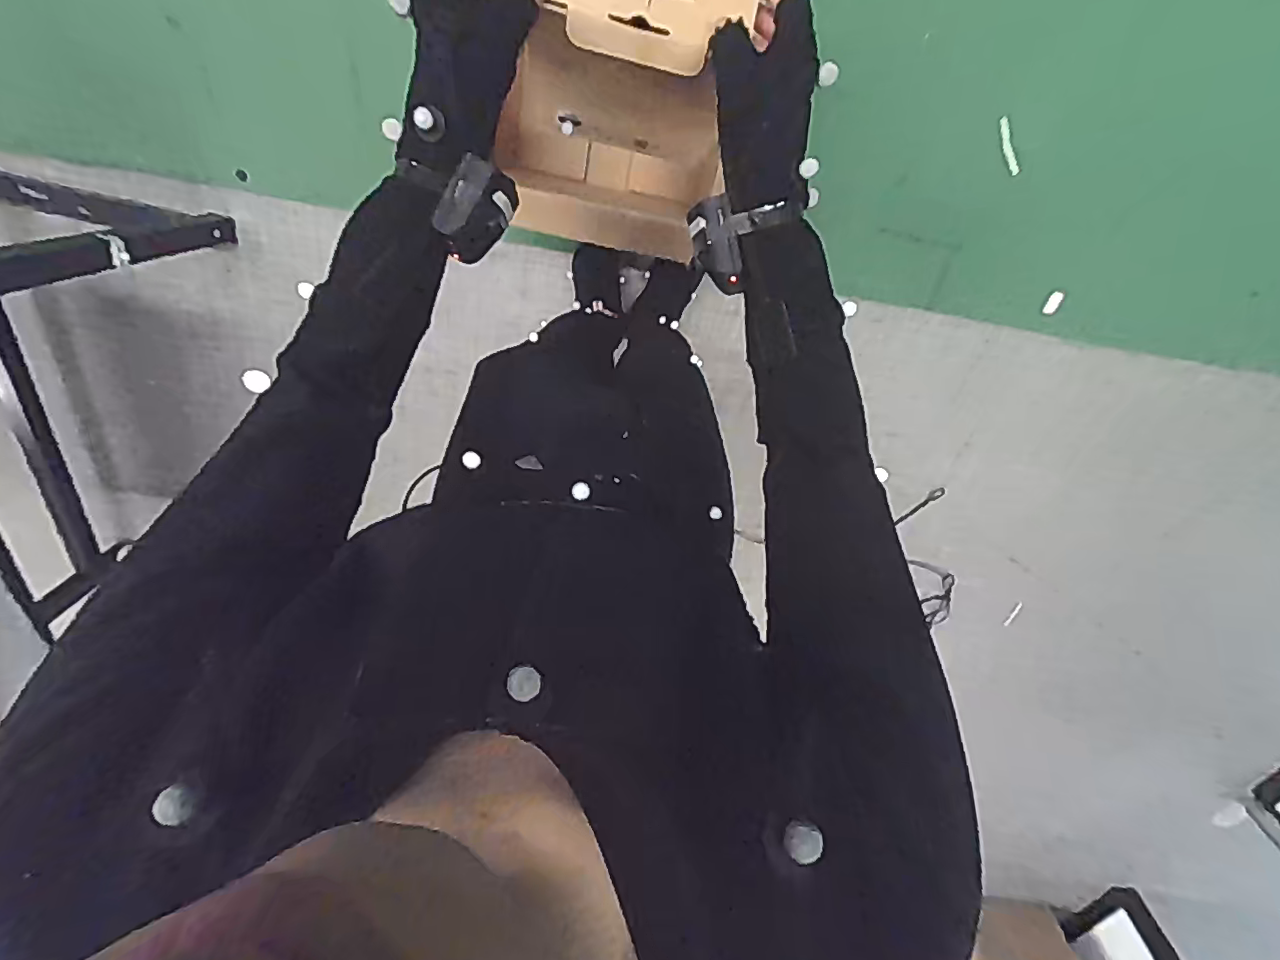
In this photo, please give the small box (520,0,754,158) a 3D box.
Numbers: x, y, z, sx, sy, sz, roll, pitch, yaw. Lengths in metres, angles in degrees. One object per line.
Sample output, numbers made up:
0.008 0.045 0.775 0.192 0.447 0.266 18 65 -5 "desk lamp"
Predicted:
0.001 -0.409 0.453 0.168 0.176 0.179 9 94 -9 "small box"
